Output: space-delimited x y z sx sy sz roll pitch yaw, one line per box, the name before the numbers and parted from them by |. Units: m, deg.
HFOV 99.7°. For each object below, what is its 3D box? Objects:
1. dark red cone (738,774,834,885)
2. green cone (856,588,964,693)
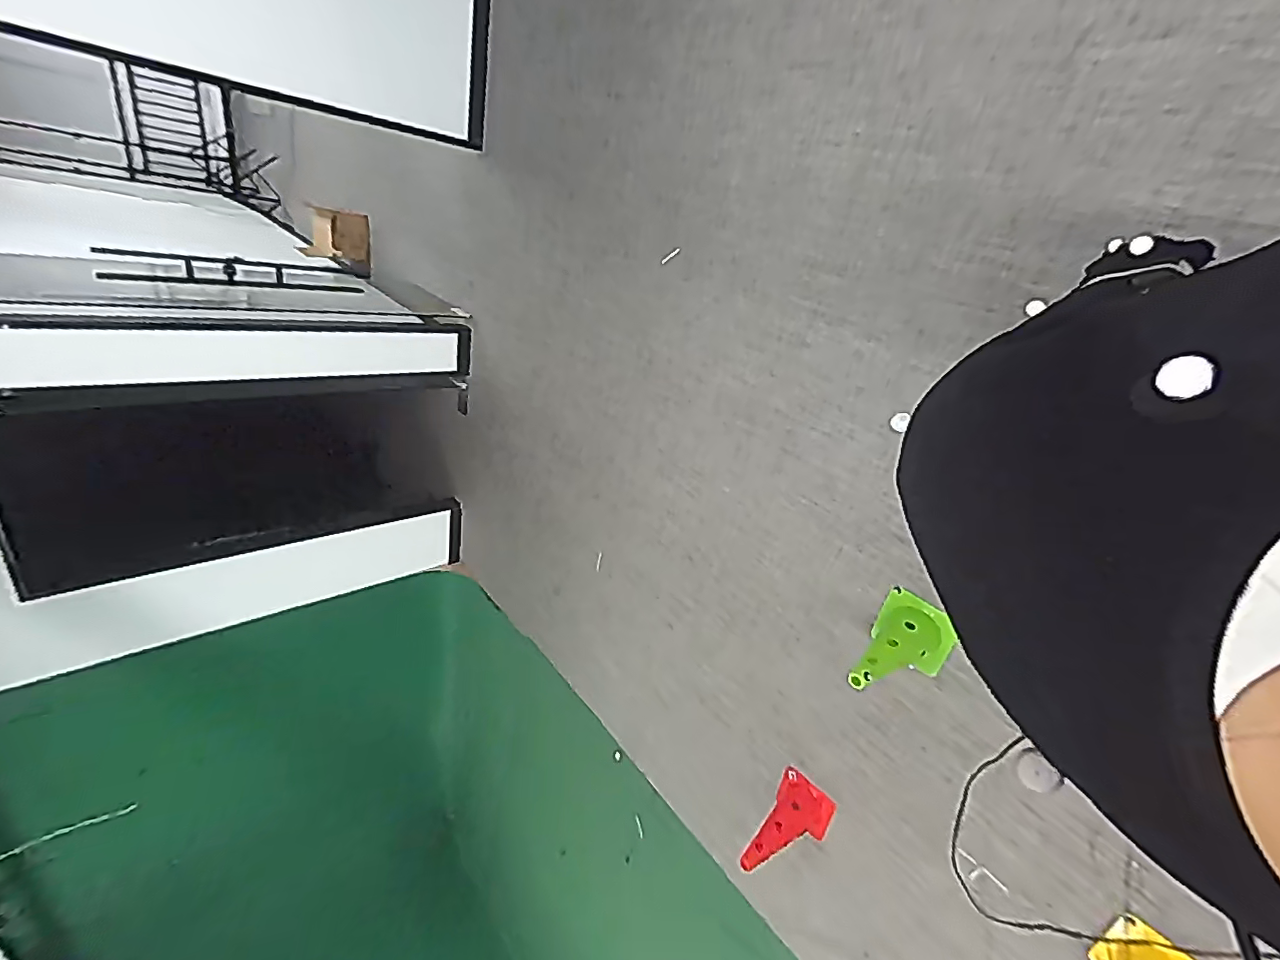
dark red cone | 0.459 1.192 1.796 0.202 0.394 0.201 29 121 41
green cone | 0.661 0.460 1.420 0.202 0.368 0.200 32 123 38
